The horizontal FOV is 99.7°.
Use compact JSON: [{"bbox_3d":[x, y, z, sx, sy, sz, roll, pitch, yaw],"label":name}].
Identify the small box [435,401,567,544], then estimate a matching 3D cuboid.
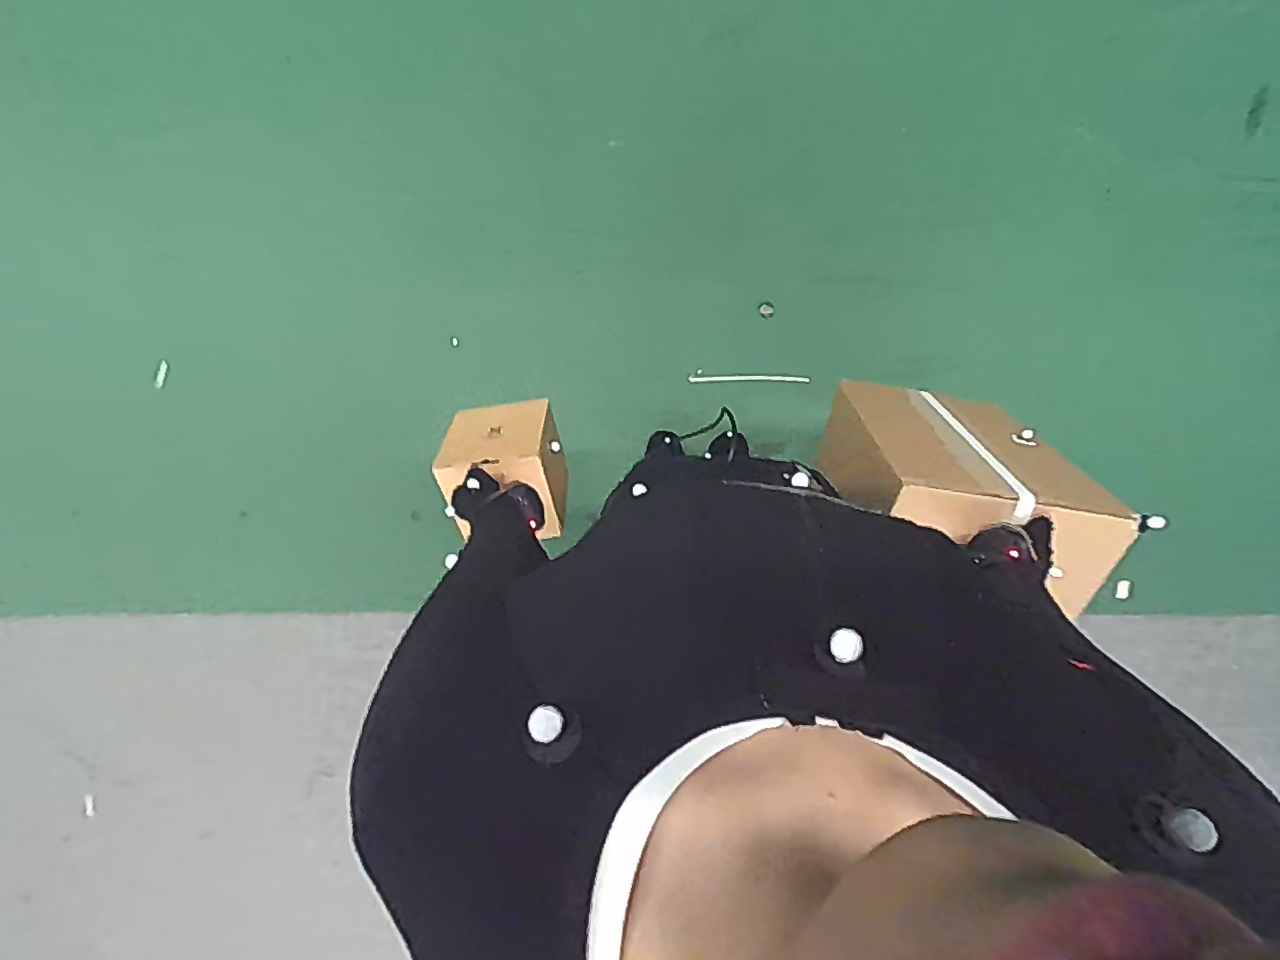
[{"bbox_3d":[-0.226,-0.014,0.932,0.168,0.179,0.176,-8,128,3],"label":"small box"}]
